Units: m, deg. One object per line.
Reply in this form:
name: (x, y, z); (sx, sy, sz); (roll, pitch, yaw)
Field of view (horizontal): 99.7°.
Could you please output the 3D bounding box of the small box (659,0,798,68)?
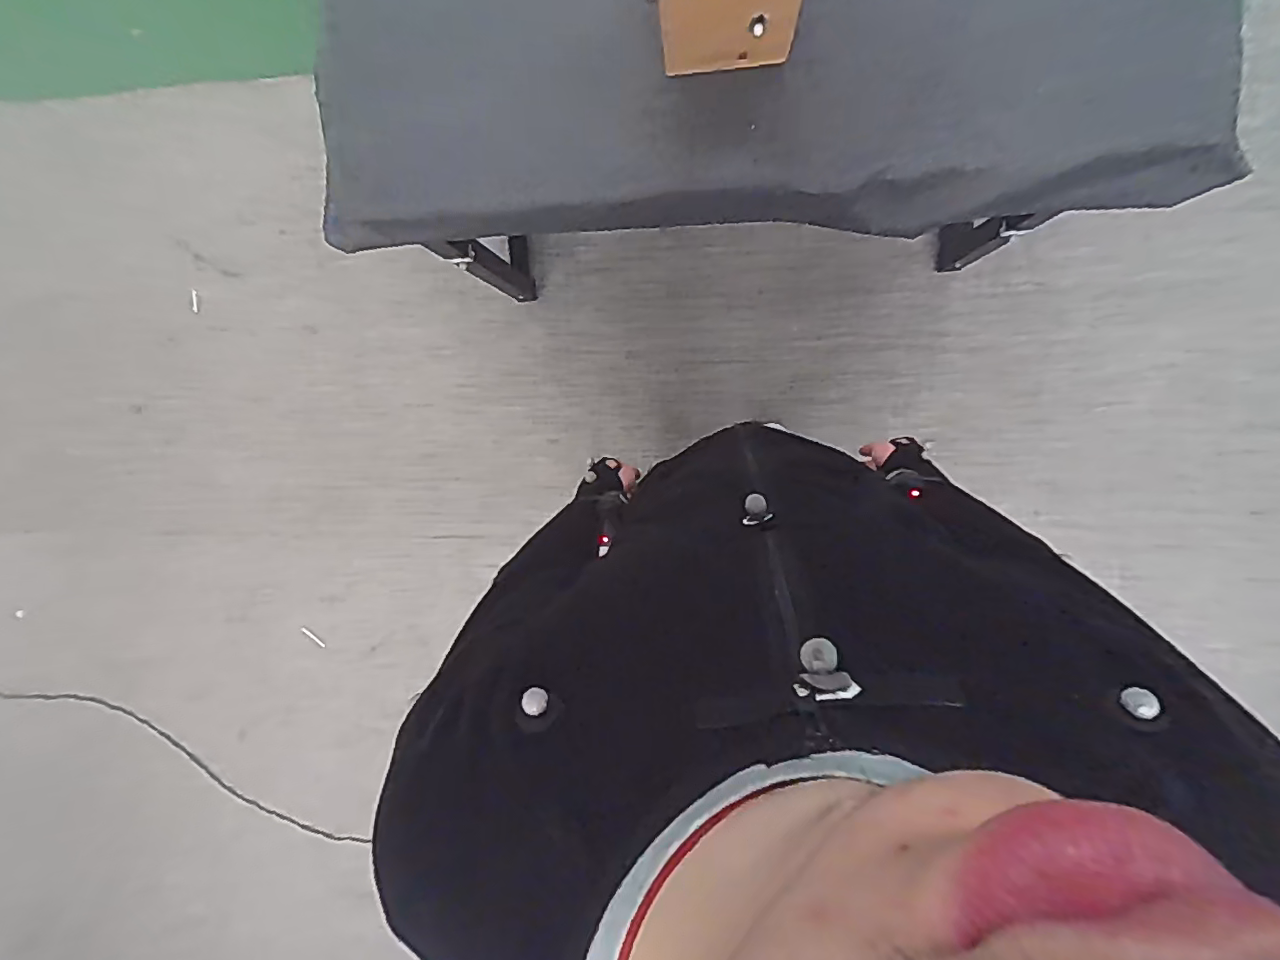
small box: (0.106, -0.639, 0.656); (0.168, 0.176, 0.179); (-2, 96, 5)
